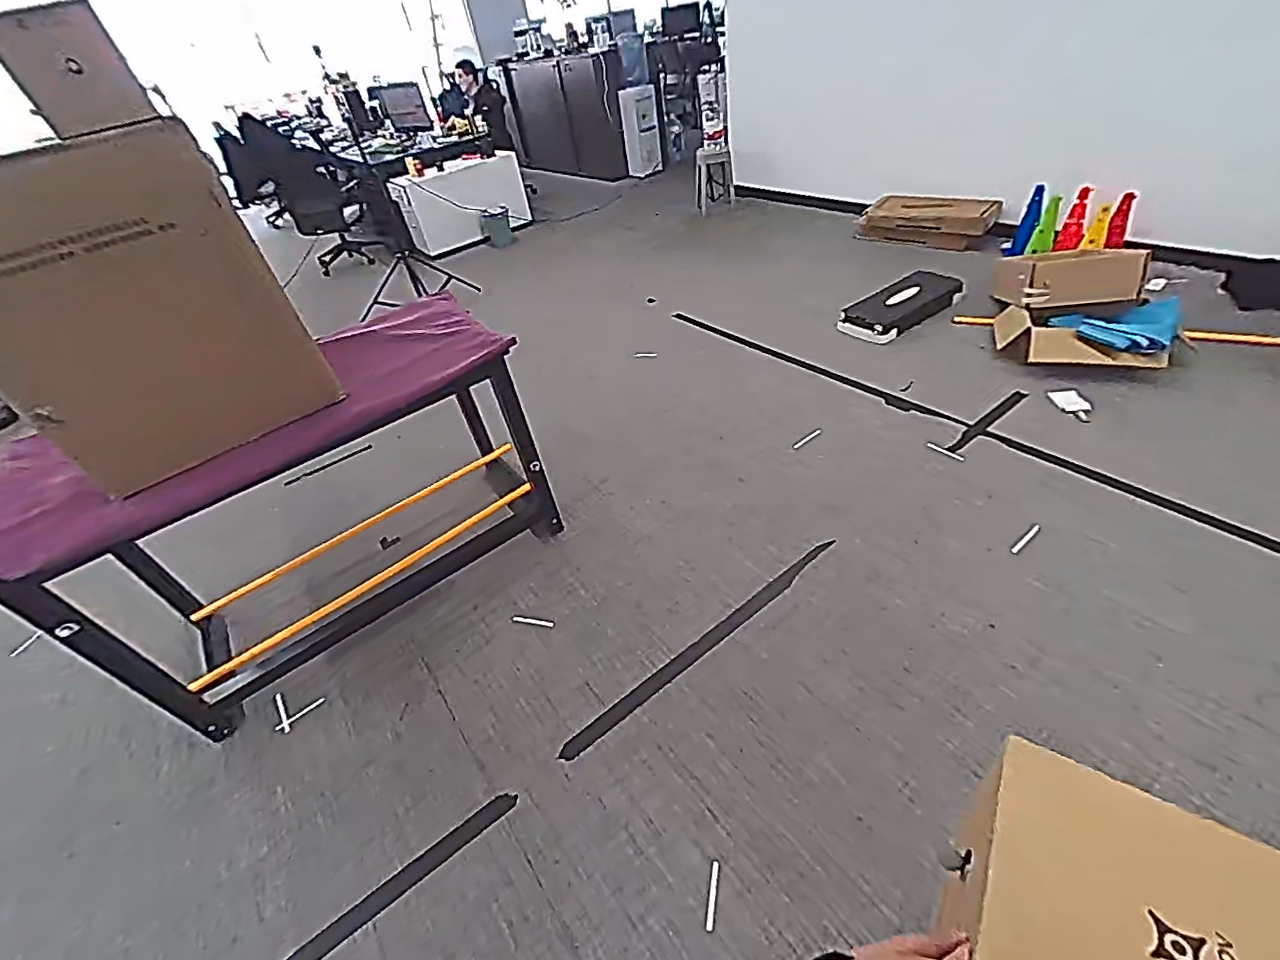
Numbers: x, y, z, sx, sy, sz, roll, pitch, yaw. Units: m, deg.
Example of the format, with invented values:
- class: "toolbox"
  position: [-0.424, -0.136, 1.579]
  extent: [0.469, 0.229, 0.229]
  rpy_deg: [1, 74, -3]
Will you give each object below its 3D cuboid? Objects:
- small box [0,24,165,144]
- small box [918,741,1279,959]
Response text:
- class: "small box"
  position: [-1.121, -0.804, 1.106]
  extent: [0.168, 0.176, 0.179]
  rpy_deg: [-32, 45, -22]
- class: "small box"
  position: [0.273, 0.305, 0.318]
  extent: [0.179, 0.176, 0.168]
  rpy_deg: [19, 41, 29]
